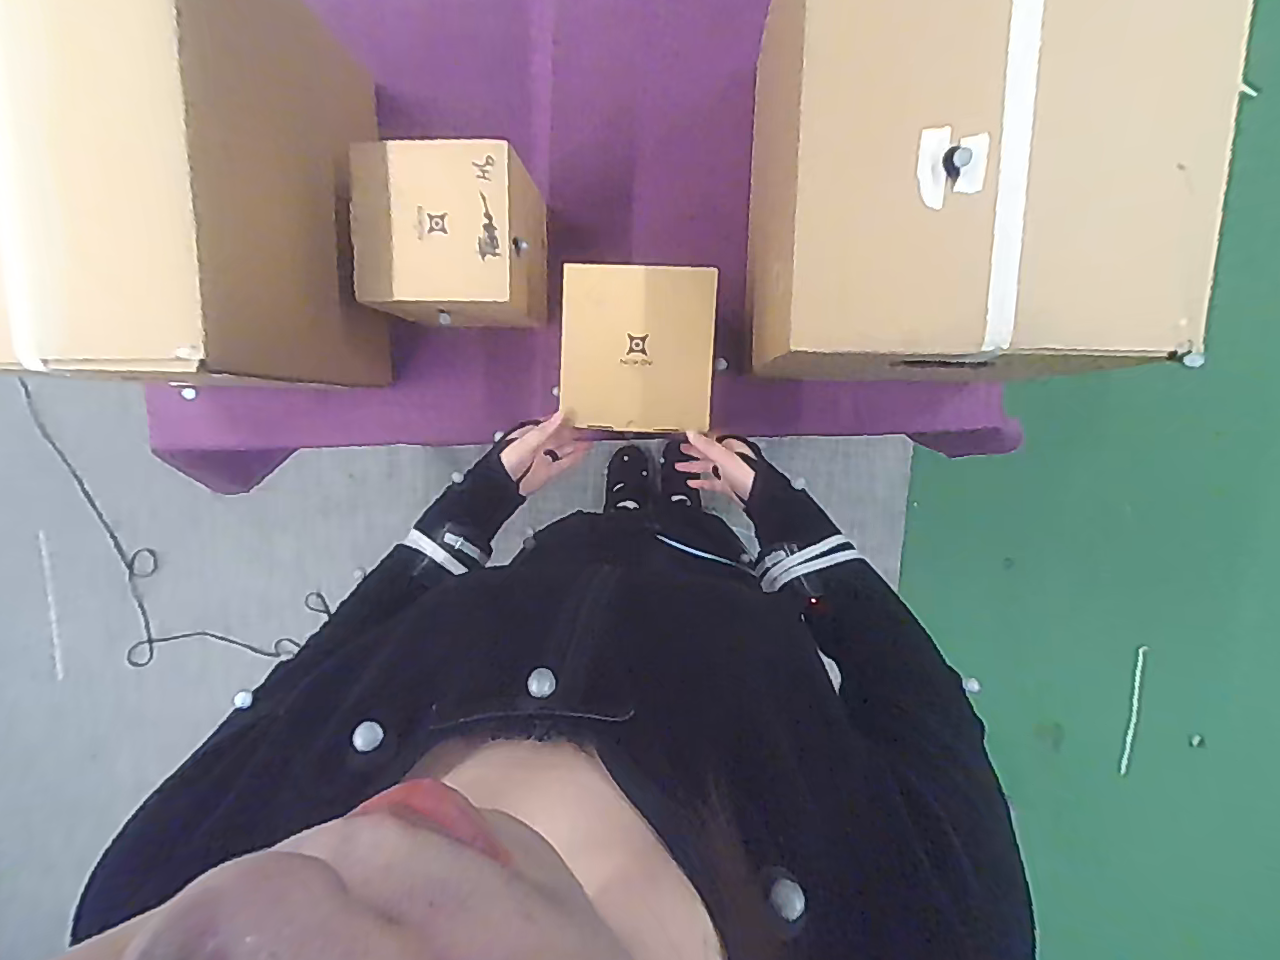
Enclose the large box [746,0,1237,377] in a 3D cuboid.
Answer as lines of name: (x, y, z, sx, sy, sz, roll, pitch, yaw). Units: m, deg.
large box: (0.293, -0.322, 0.560, 0.320, 0.320, 0.408, 2, 98, 3)
